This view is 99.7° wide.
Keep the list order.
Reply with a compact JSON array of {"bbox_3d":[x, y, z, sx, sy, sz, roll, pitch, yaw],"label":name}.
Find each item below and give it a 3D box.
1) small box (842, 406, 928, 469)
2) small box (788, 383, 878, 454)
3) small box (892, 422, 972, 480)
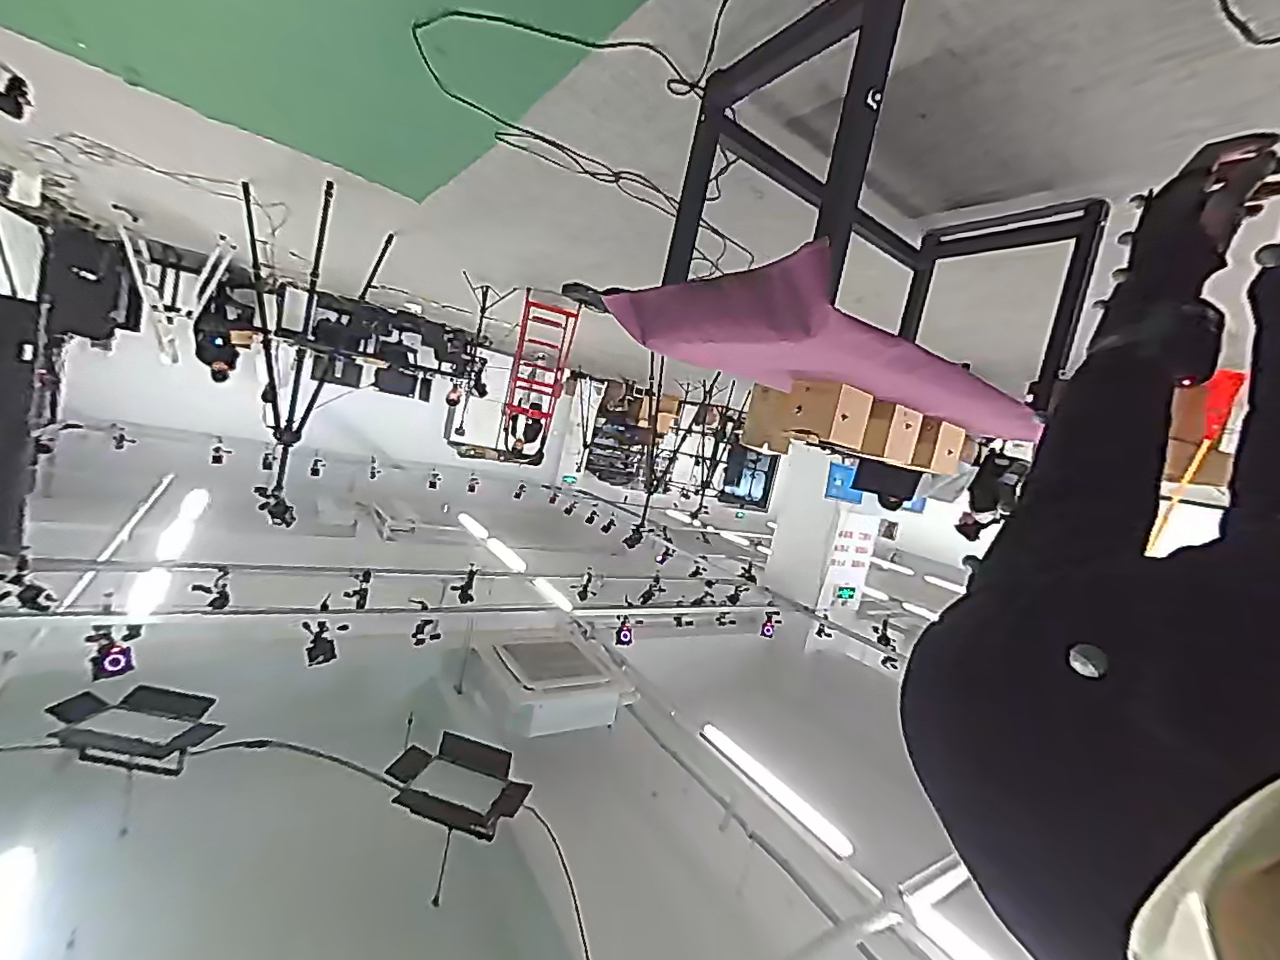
[{"bbox_3d":[0.783,-0.143,1.725,0.168,0.176,0.179,9,-175,-36],"label":"small box"},{"bbox_3d":[0.563,-0.181,1.572,0.179,0.176,0.168,8,-174,-39],"label":"small box"},{"bbox_3d":[1.001,-0.105,1.853,0.179,0.176,0.168,8,-174,-35],"label":"small box"}]
